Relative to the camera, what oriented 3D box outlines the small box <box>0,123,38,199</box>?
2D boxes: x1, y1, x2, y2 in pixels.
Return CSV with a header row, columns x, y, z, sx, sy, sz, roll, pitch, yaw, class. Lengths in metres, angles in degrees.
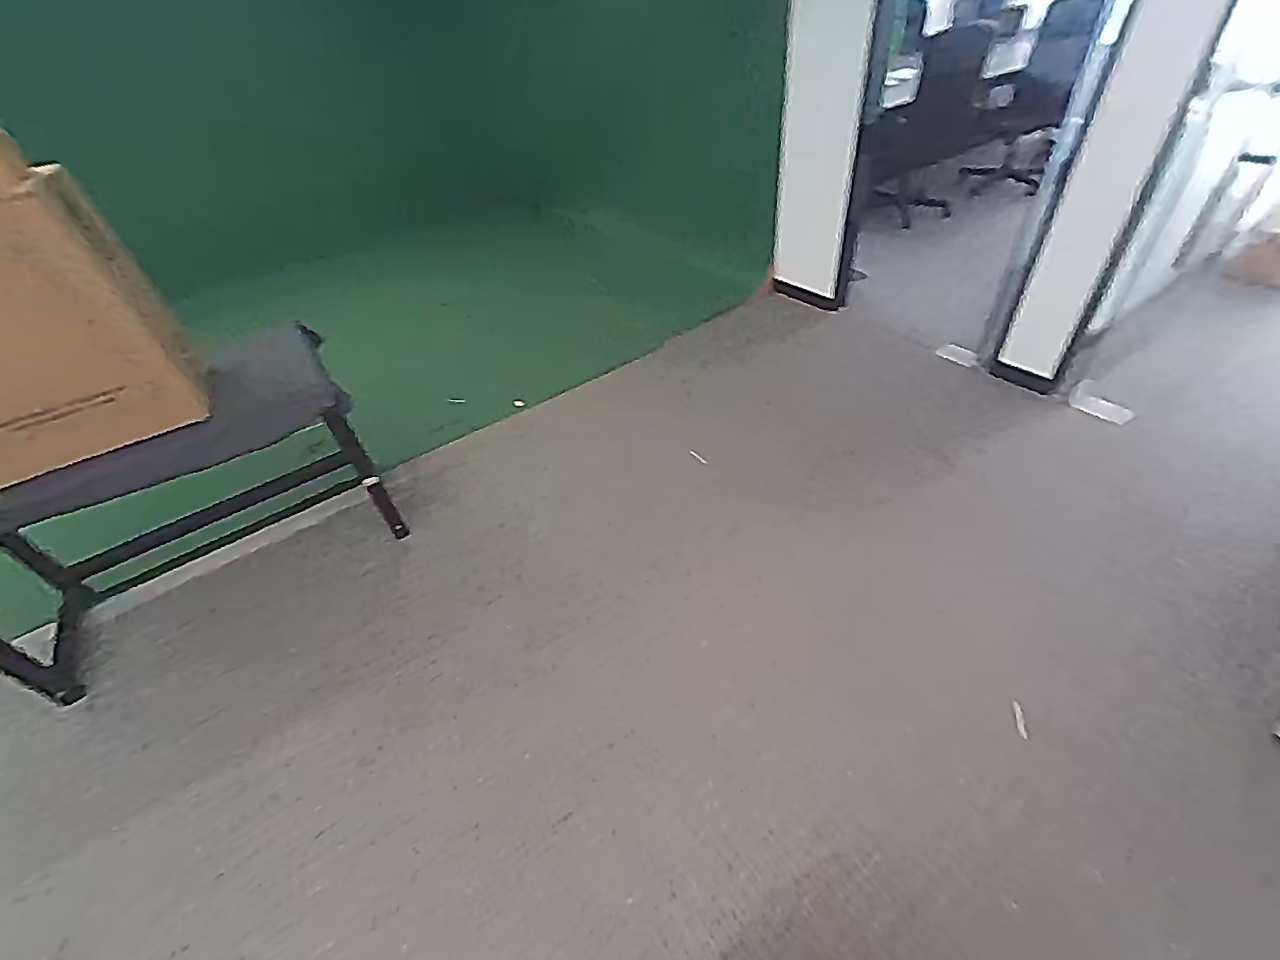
x,y,z,sx,sy,sz,roll,pitch,yaw,class
-1.516,-0.729,1.203,0.168,0.176,0.179,-25,48,-19,small box
